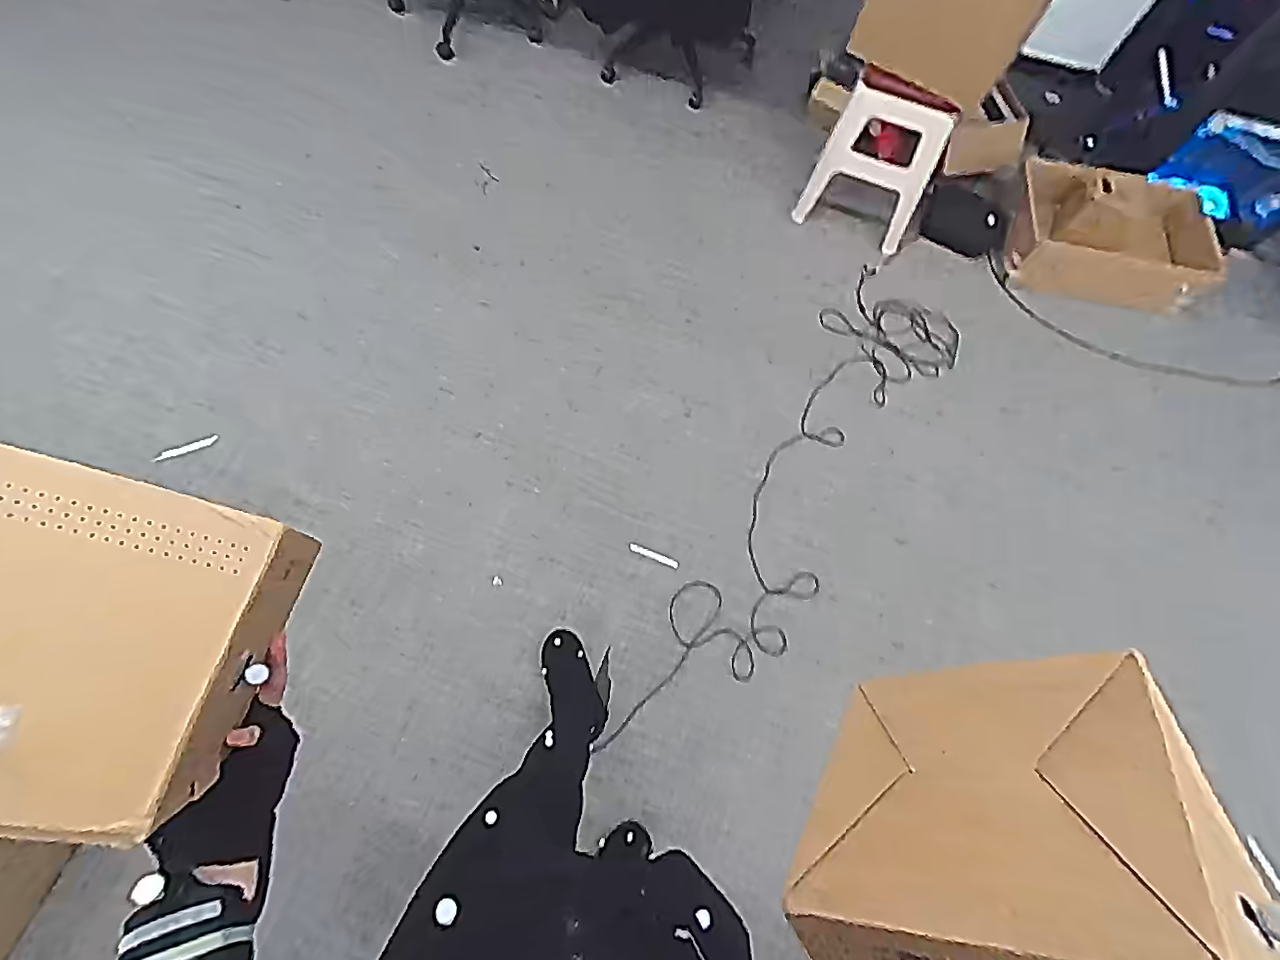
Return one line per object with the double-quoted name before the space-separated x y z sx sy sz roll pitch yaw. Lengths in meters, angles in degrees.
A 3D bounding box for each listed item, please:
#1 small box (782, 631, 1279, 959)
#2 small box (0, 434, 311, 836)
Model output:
"small box" 0.204 0.205 0.284 0.176 0.168 0.179 58 39 -3
"small box" -0.327 0.082 0.329 0.179 0.168 0.176 21 71 -19
